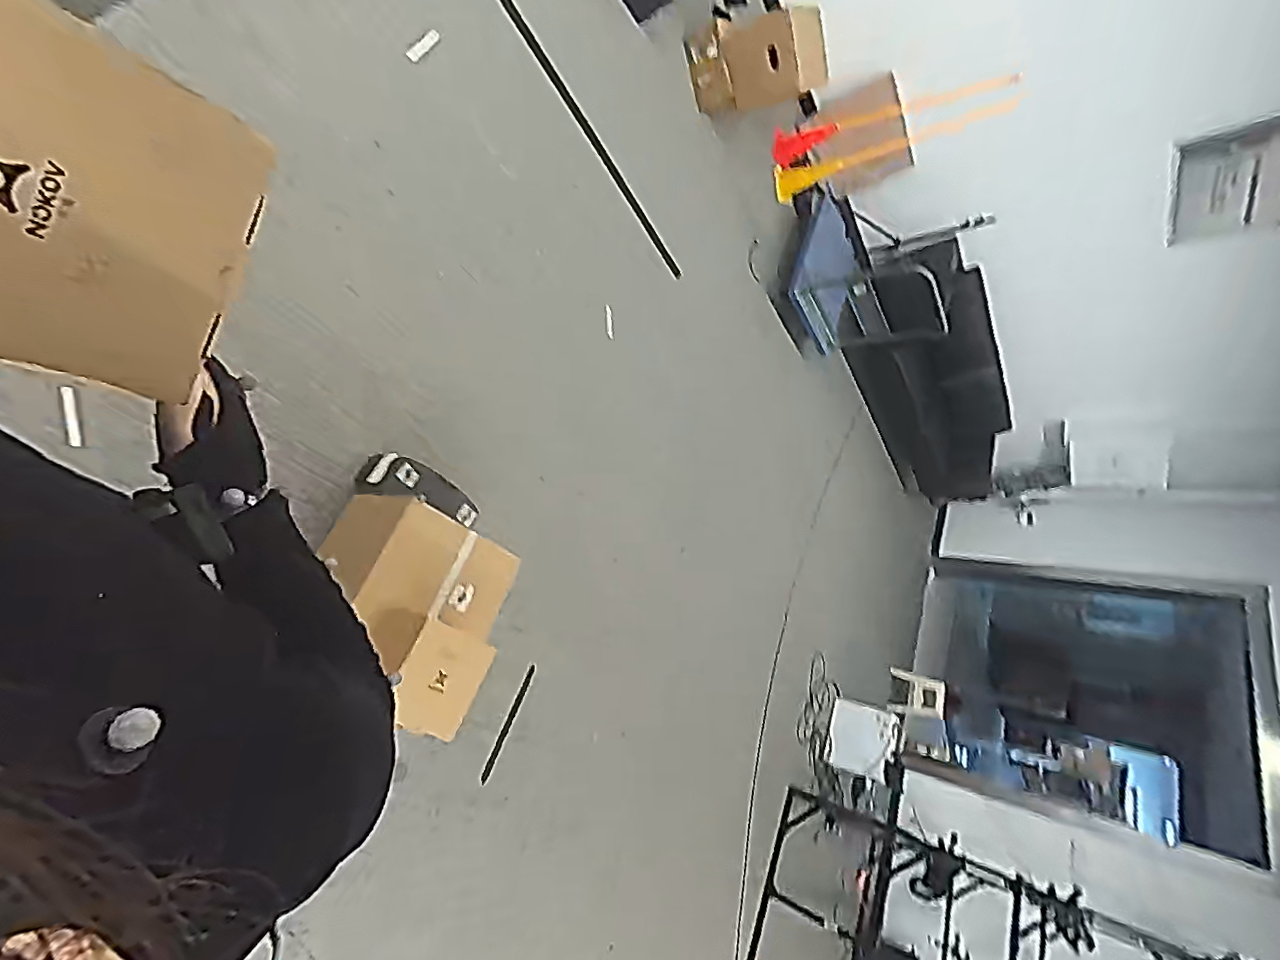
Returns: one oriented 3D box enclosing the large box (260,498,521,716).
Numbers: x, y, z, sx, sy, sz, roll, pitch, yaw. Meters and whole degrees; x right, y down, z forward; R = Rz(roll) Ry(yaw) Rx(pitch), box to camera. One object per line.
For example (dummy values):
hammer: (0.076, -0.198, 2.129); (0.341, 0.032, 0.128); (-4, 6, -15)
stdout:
large box: (-0.541, 0.287, 1.202); (0.320, 0.320, 0.408); (42, 59, -41)

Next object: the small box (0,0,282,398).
small box: (-0.341, -0.166, 0.289); (0.179, 0.176, 0.168); (17, 98, -55)

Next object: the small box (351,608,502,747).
small box: (-0.397, 0.357, 0.994); (0.168, 0.176, 0.179); (46, 57, -38)
